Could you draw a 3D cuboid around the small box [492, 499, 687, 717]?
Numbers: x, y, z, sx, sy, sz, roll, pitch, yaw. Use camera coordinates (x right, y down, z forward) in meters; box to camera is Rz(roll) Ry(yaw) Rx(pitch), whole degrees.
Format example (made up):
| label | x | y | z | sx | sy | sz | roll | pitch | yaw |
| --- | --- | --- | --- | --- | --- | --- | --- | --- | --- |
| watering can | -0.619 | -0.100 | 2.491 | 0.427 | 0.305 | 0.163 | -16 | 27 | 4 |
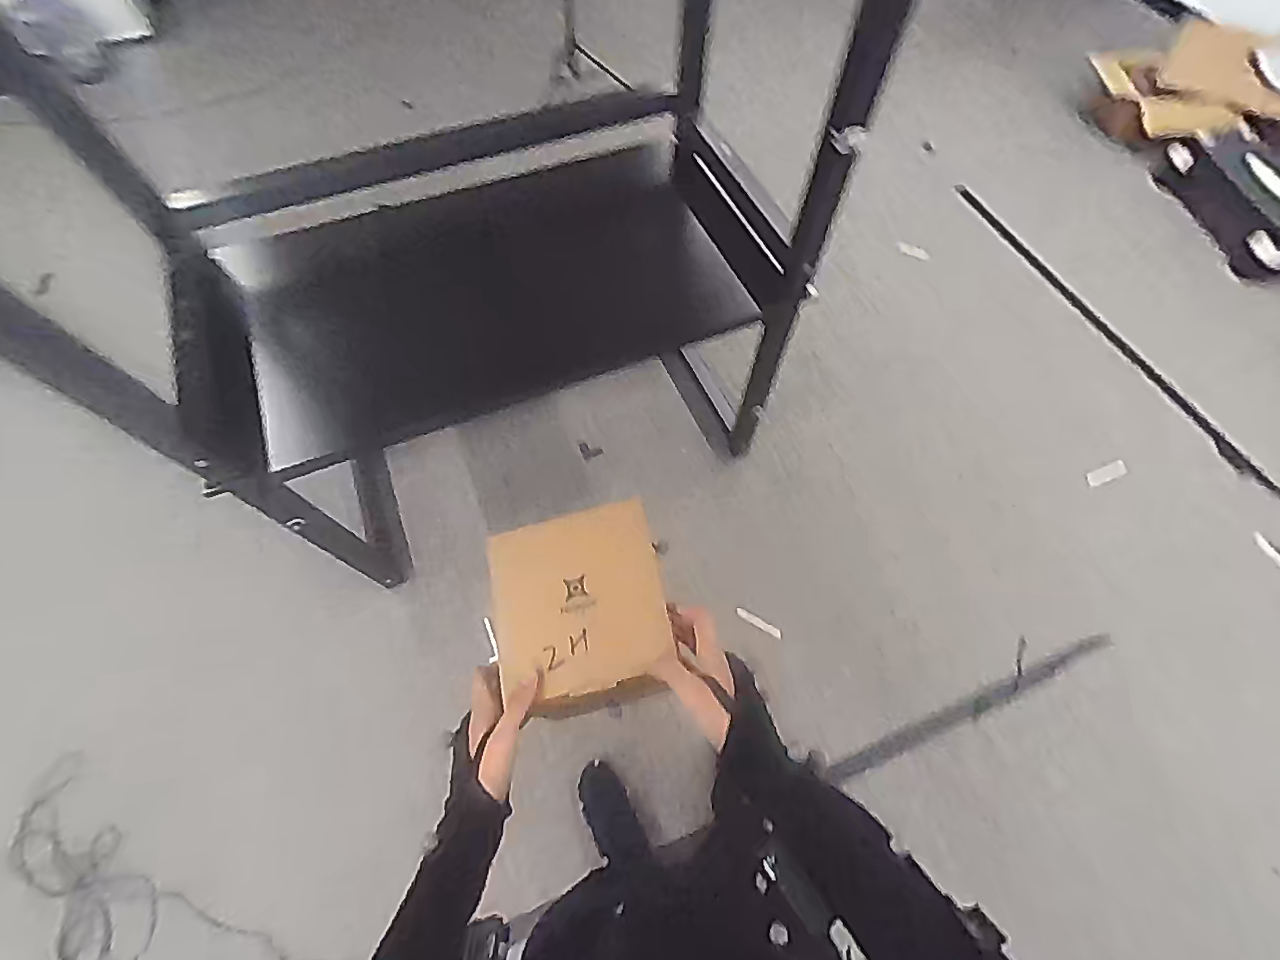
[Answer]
| label | x | y | z | sx | sy | sz | roll | pitch | yaw |
| --- | --- | --- | --- | --- | --- | --- | --- | --- | --- |
| small box | -0.049 | 0.147 | 0.590 | 0.168 | 0.176 | 0.179 | -14 | 63 | 1 |
